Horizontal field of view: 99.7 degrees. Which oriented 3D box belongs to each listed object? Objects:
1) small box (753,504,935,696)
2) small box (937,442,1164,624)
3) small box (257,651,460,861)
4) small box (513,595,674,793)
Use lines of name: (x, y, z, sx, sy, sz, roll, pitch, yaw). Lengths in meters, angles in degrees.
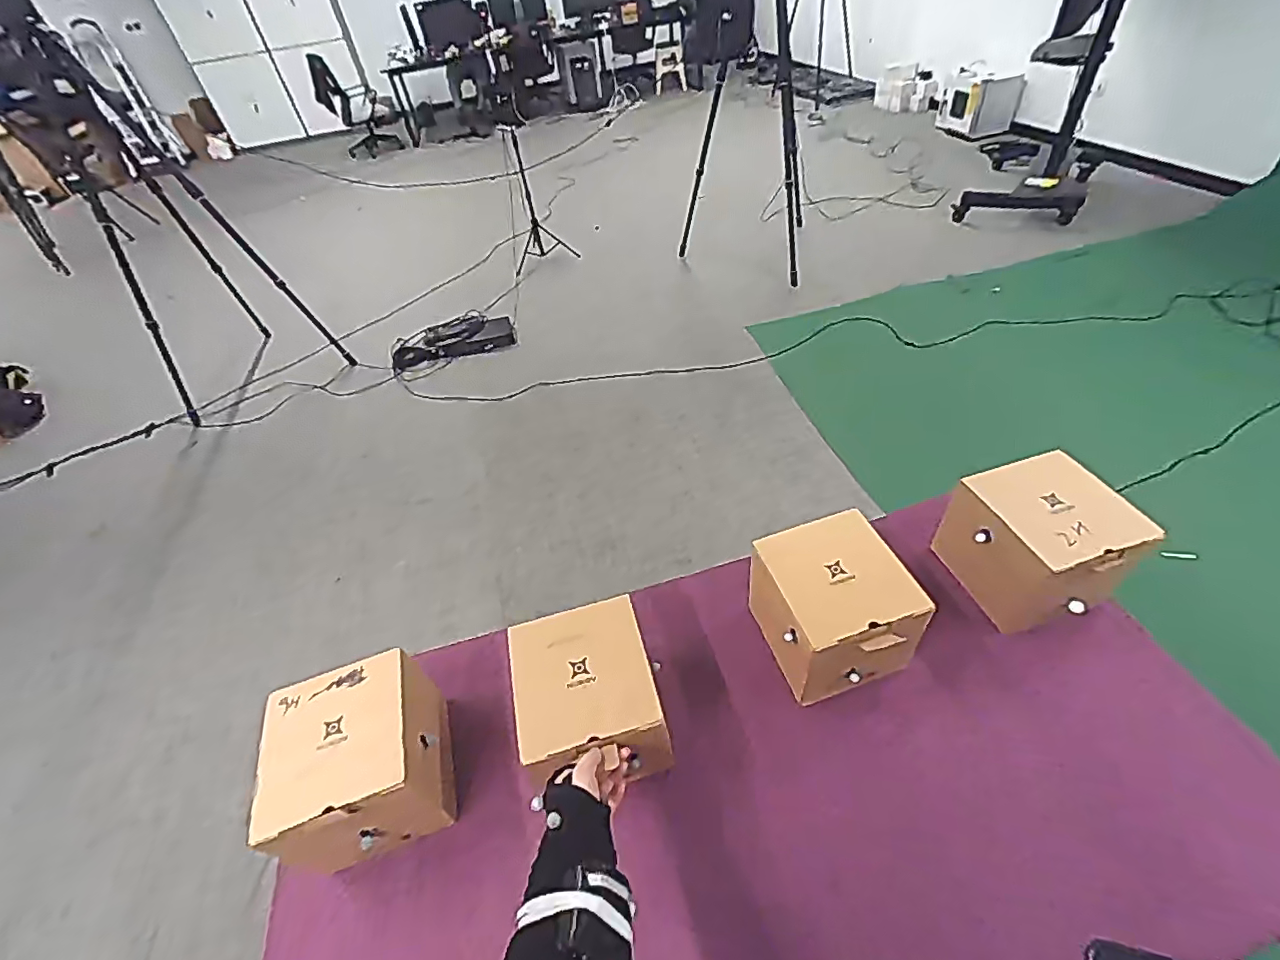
small box: (0.268, 0.169, 0.762, 0.168, 0.176, 0.179, -18, 47, -7)
small box: (0.572, 0.078, 0.788, 0.168, 0.176, 0.179, -17, 46, -4)
small box: (-0.342, 0.356, 0.689, 0.168, 0.176, 0.179, -19, 47, -9)
small box: (-0.058, 0.286, 0.708, 0.168, 0.176, 0.179, -15, 46, -6)
